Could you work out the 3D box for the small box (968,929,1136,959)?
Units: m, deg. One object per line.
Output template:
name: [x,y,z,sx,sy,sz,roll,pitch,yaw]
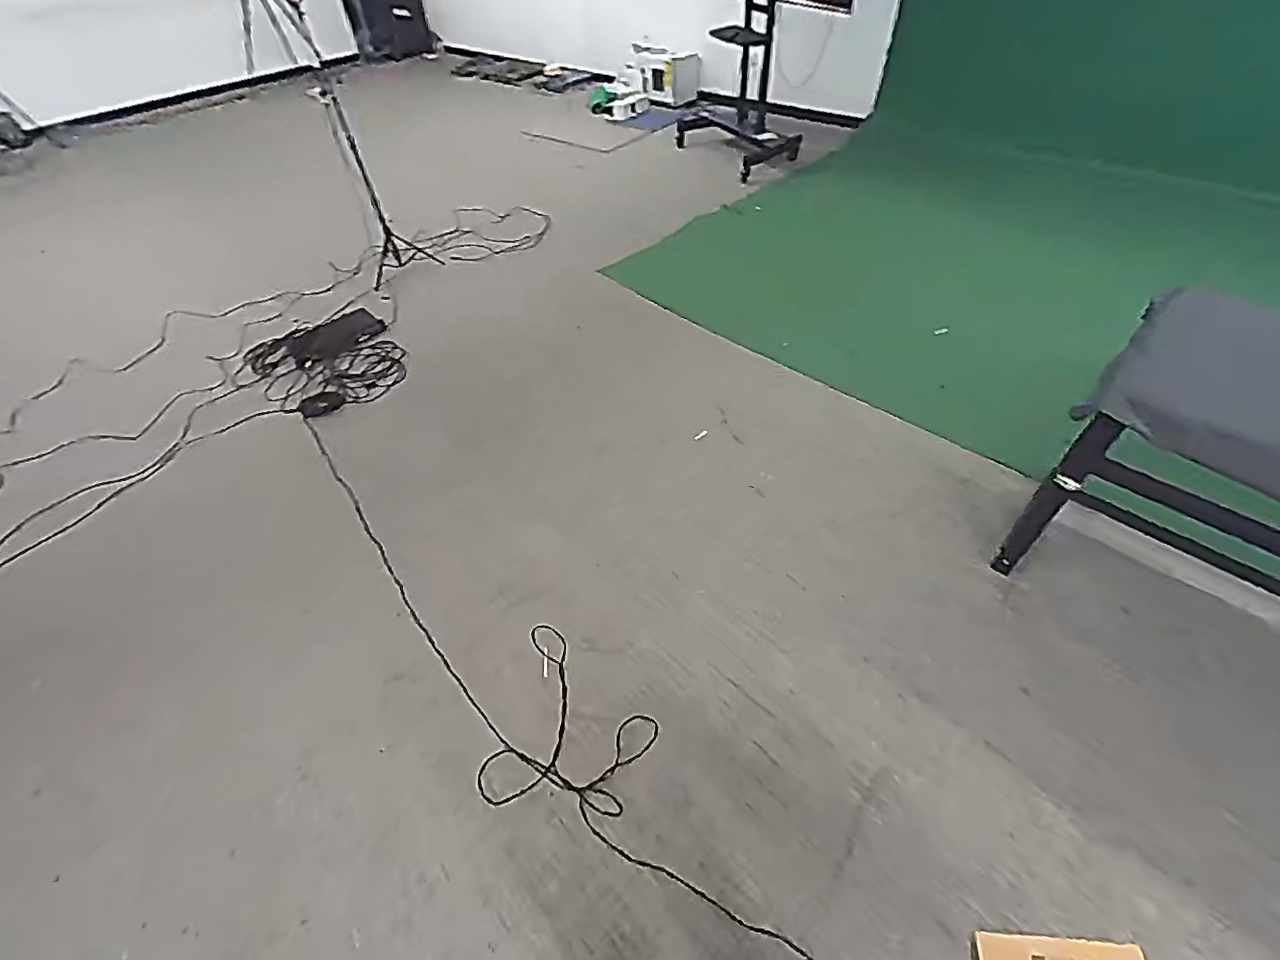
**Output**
small box: [0.494,0.642,0.623,0.168,0.179,0.176,-10,43,20]
